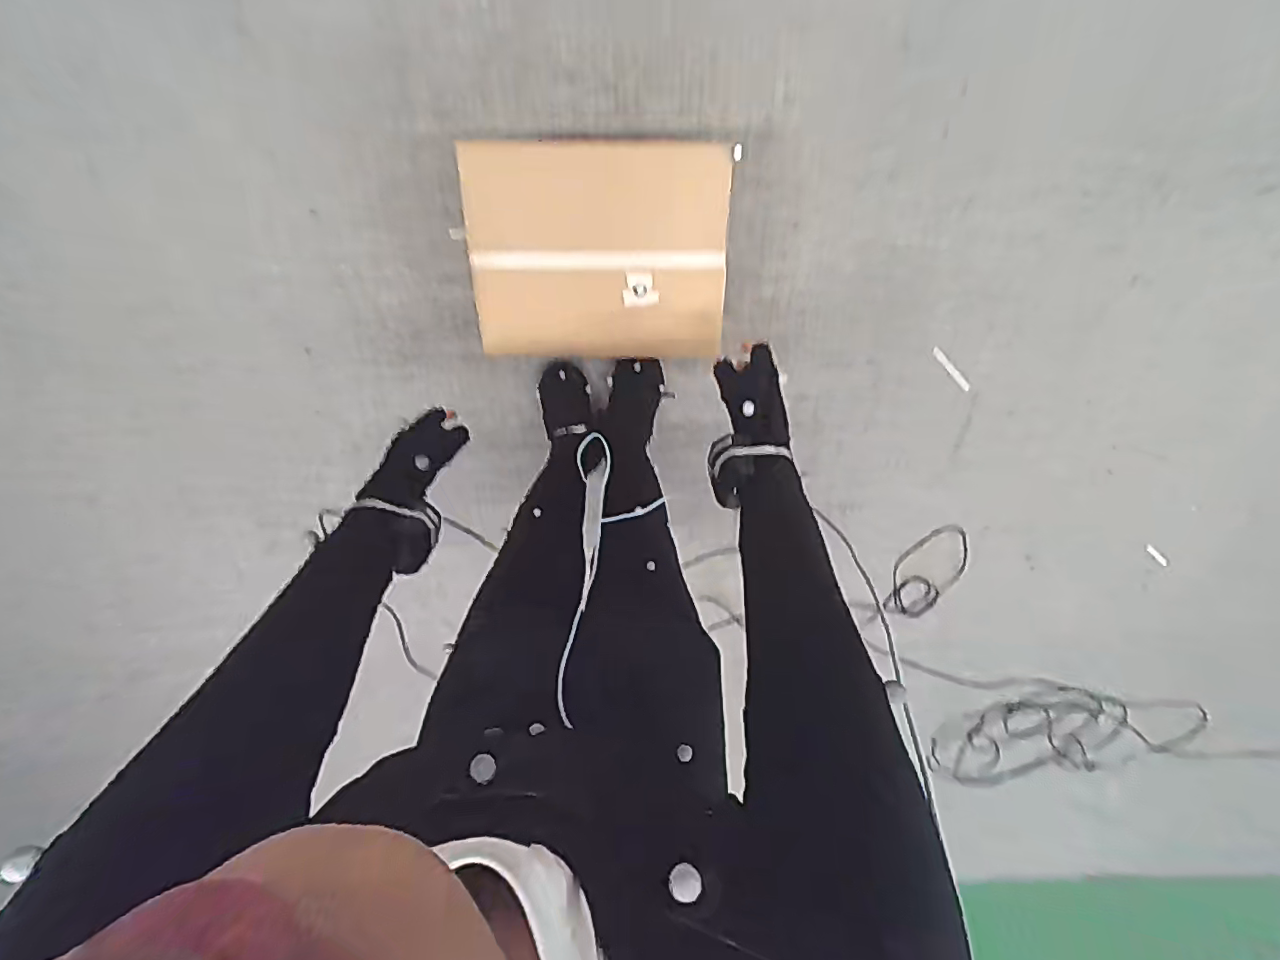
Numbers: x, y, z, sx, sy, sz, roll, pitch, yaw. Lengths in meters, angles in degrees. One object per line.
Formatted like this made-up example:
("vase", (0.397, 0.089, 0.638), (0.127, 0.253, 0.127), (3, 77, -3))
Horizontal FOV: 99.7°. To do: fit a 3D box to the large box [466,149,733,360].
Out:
("large box", (-0.063, -0.411, 0.997), (0.408, 0.320, 0.320), (0, 117, -1))
